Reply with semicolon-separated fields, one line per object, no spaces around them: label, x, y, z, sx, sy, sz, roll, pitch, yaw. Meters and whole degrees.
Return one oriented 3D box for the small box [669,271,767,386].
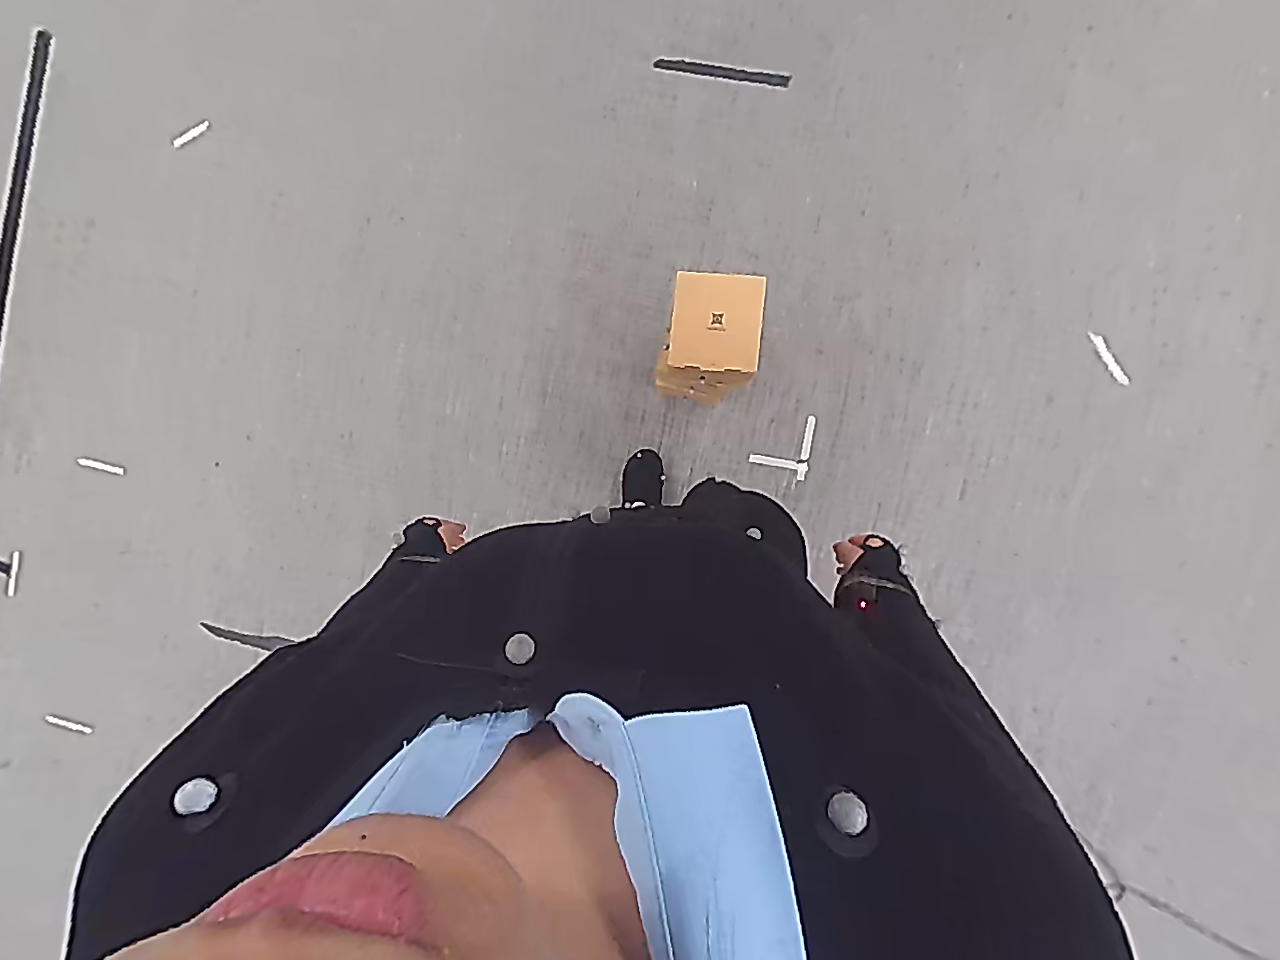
small box;0.146;-0.290;1.062;0.168;0.176;0.179;5;92;4

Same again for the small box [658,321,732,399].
small box;0.146;-0.296;1.225;0.168;0.176;0.179;17;93;5
